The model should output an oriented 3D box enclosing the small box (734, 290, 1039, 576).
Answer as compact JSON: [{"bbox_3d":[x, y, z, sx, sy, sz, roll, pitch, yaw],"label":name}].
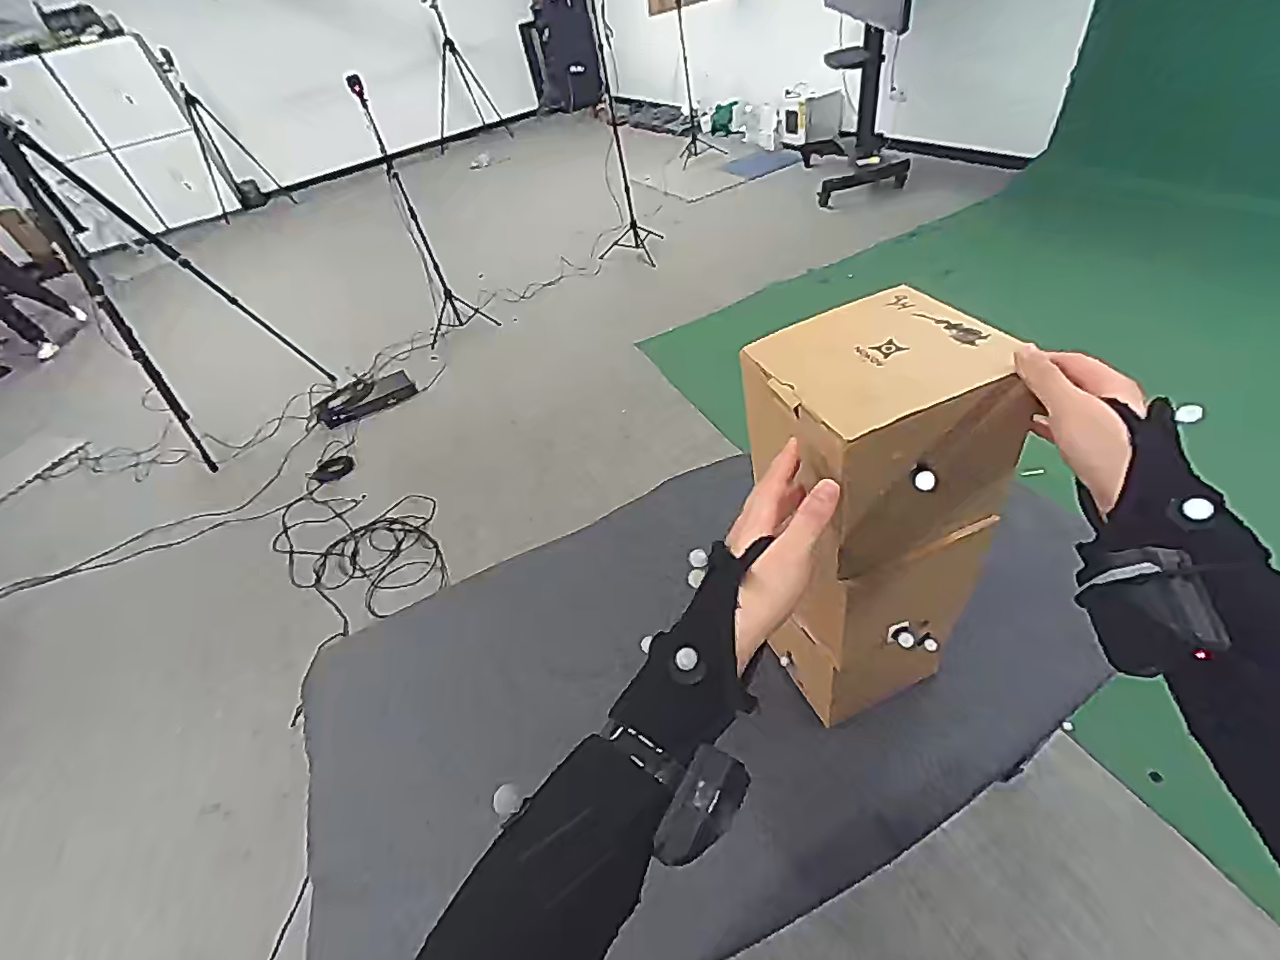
[{"bbox_3d":[0.208,-0.041,0.495,0.179,0.176,0.168,-22,42,-4],"label":"small box"}]

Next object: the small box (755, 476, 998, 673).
[{"bbox_3d":[0.245,0.077,0.603,0.168,0.176,0.179,-24,44,-6],"label":"small box"}]

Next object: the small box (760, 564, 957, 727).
[{"bbox_3d":[0.277,0.189,0.717,0.179,0.176,0.168,-23,42,-8],"label":"small box"}]
